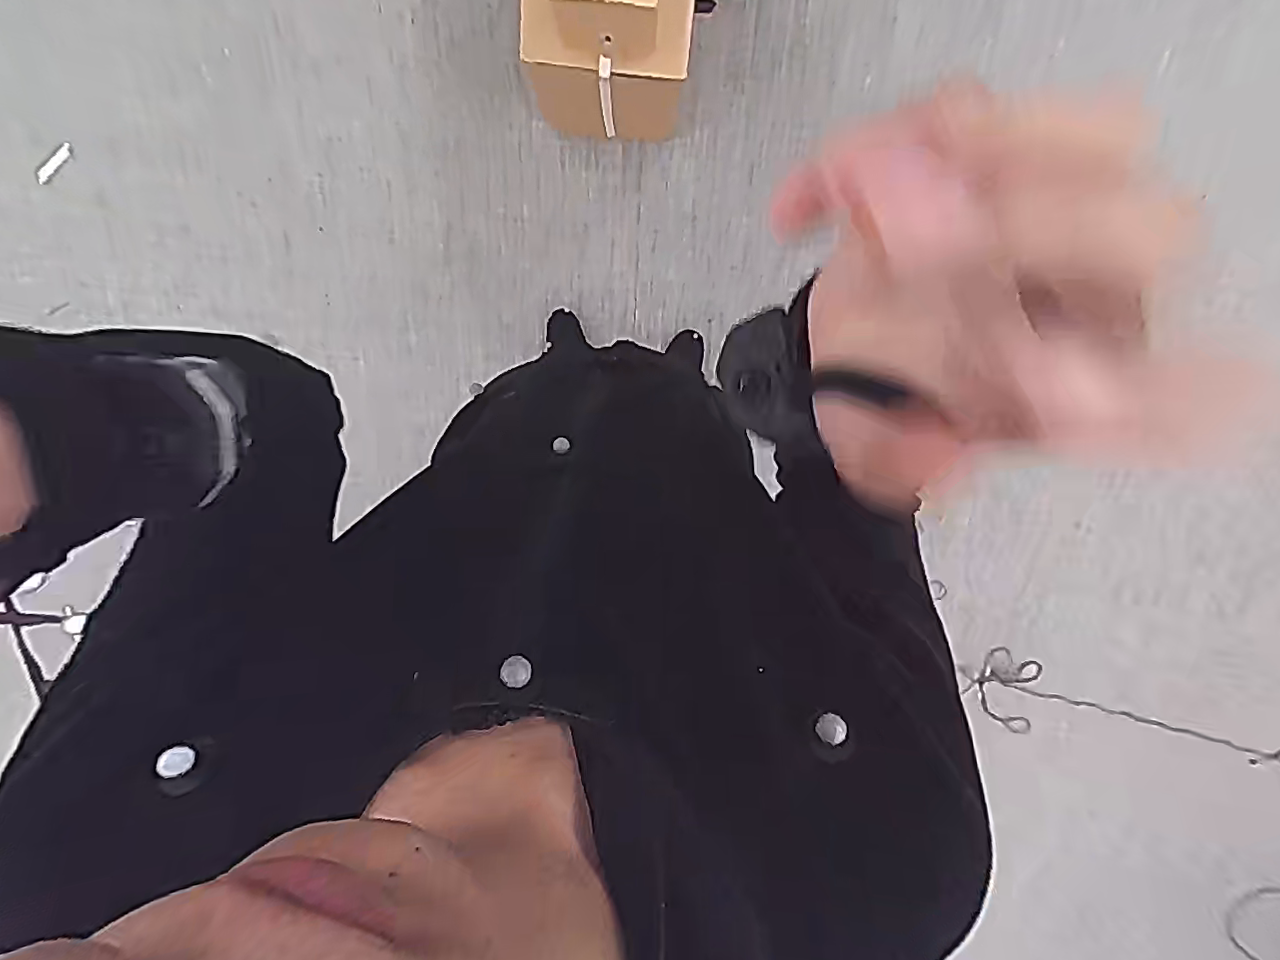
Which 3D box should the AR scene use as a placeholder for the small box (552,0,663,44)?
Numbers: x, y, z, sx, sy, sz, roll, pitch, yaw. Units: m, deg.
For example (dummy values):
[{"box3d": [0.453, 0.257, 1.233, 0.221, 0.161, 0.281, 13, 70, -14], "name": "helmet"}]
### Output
[{"box3d": [-0.046, -0.835, 0.867, 0.179, 0.176, 0.168, 5, 109, -2], "name": "small box"}]
